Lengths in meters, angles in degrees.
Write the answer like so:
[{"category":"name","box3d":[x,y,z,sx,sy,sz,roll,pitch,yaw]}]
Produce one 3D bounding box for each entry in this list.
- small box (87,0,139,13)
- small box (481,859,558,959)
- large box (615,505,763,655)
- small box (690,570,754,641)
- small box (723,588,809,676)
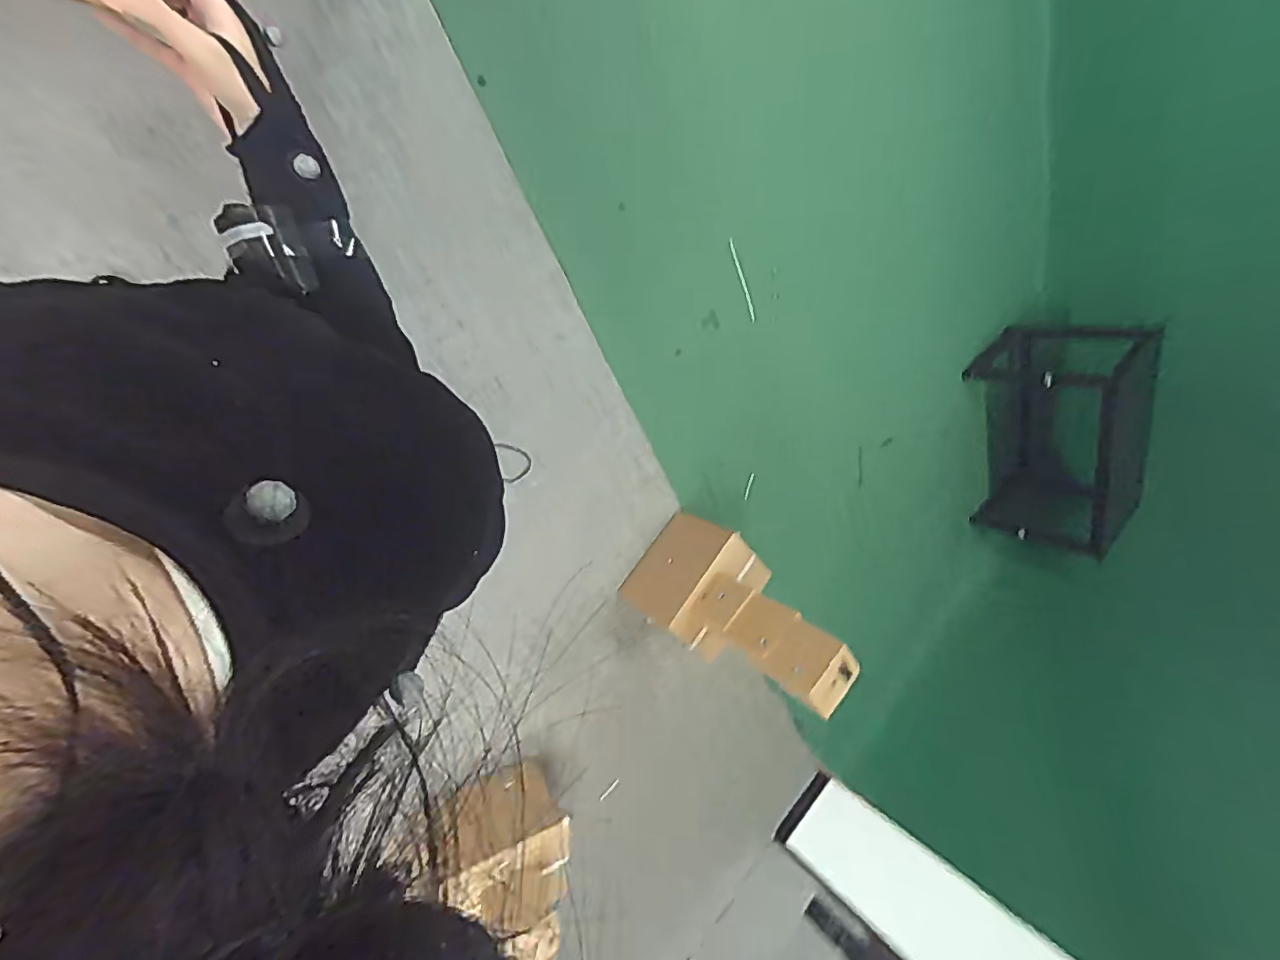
[{"category":"small box","box3d":[-0.377,-0.364,0.258,0.179,0.176,0.168,-11,128,-42]},{"category":"small box","box3d":[-0.355,1.270,1.576,0.179,0.176,0.168,-11,112,-34]},{"category":"large box","box3d":[0.184,0.366,2.033,0.408,0.320,0.320,-54,129,-13]},{"category":"small box","box3d":[0.297,0.425,1.819,0.168,0.176,0.179,-48,126,-15]},{"category":"small box","box3d":[0.393,0.470,1.696,0.179,0.176,0.168,-47,126,-16]}]
